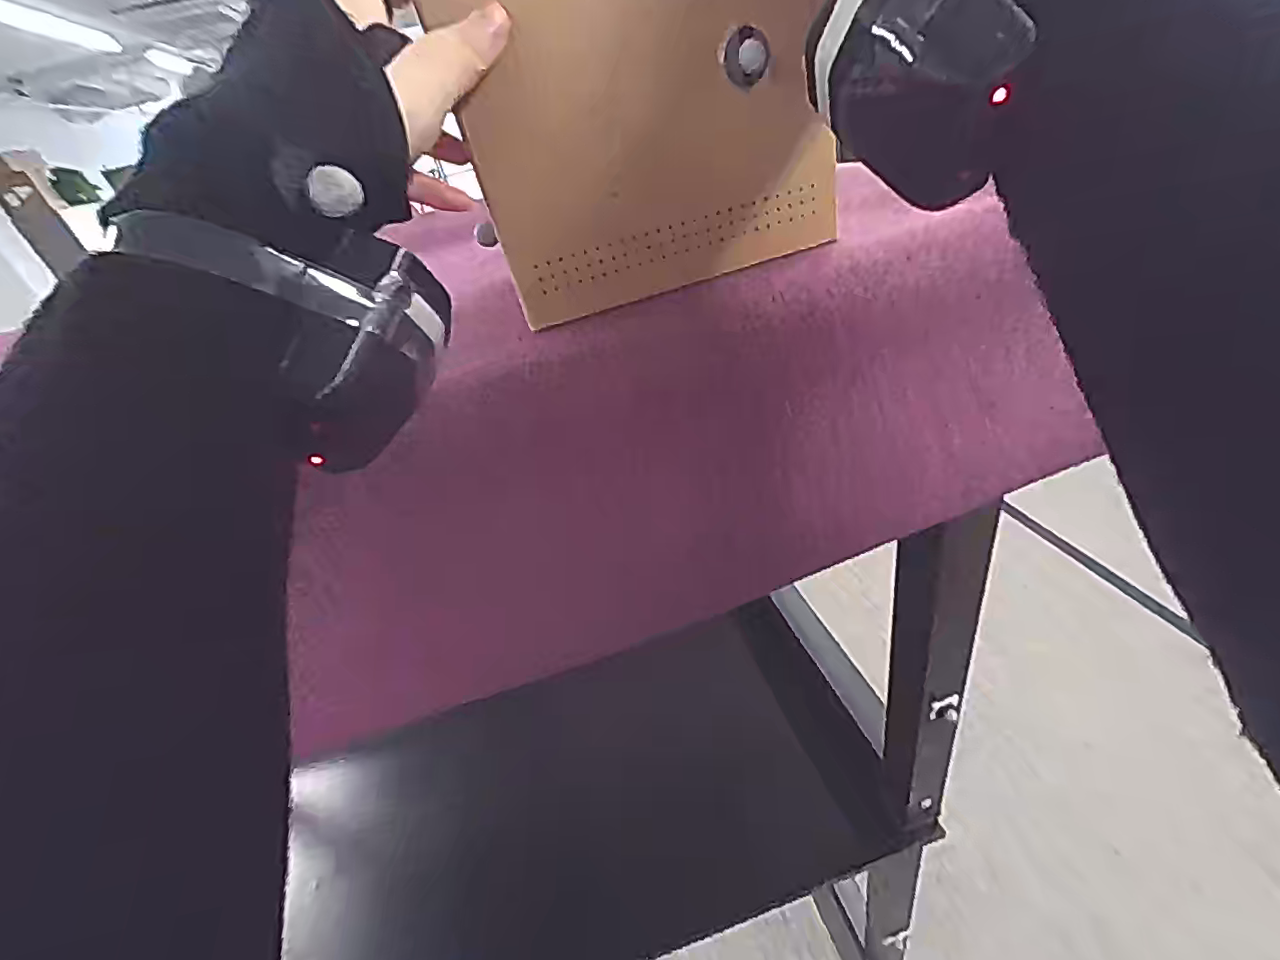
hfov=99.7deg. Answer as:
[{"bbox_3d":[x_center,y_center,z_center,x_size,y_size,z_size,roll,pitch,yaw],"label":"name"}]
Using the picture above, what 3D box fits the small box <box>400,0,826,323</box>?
[{"bbox_3d":[-0.013,-0.208,0.298,0.179,0.176,0.168,-18,33,-3],"label":"small box"}]
